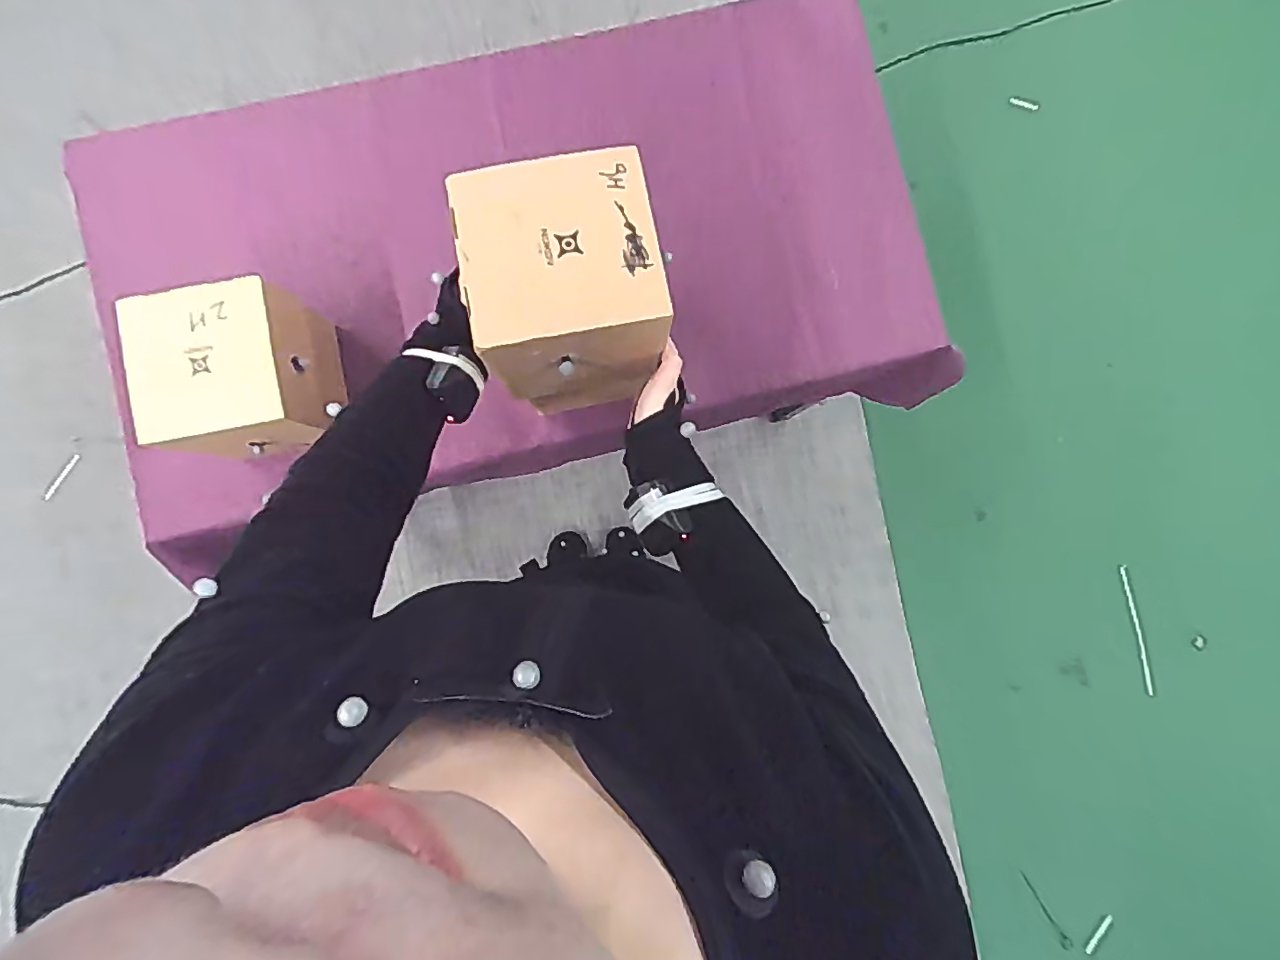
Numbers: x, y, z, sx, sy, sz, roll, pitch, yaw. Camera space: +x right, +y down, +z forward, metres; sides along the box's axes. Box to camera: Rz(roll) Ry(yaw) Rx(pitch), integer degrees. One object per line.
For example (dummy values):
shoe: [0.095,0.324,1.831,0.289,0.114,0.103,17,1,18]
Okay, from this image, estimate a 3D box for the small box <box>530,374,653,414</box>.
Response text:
small box: [-0.079,-0.194,0.721,0.179,0.176,0.168,-12,87,-3]

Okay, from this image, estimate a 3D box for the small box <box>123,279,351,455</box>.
small box: [-0.502,-0.131,0.701,0.168,0.176,0.179,-11,87,-3]

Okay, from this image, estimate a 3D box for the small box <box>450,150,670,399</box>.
small box: [-0.072,-0.192,0.551,0.179,0.176,0.168,-10,83,-3]
